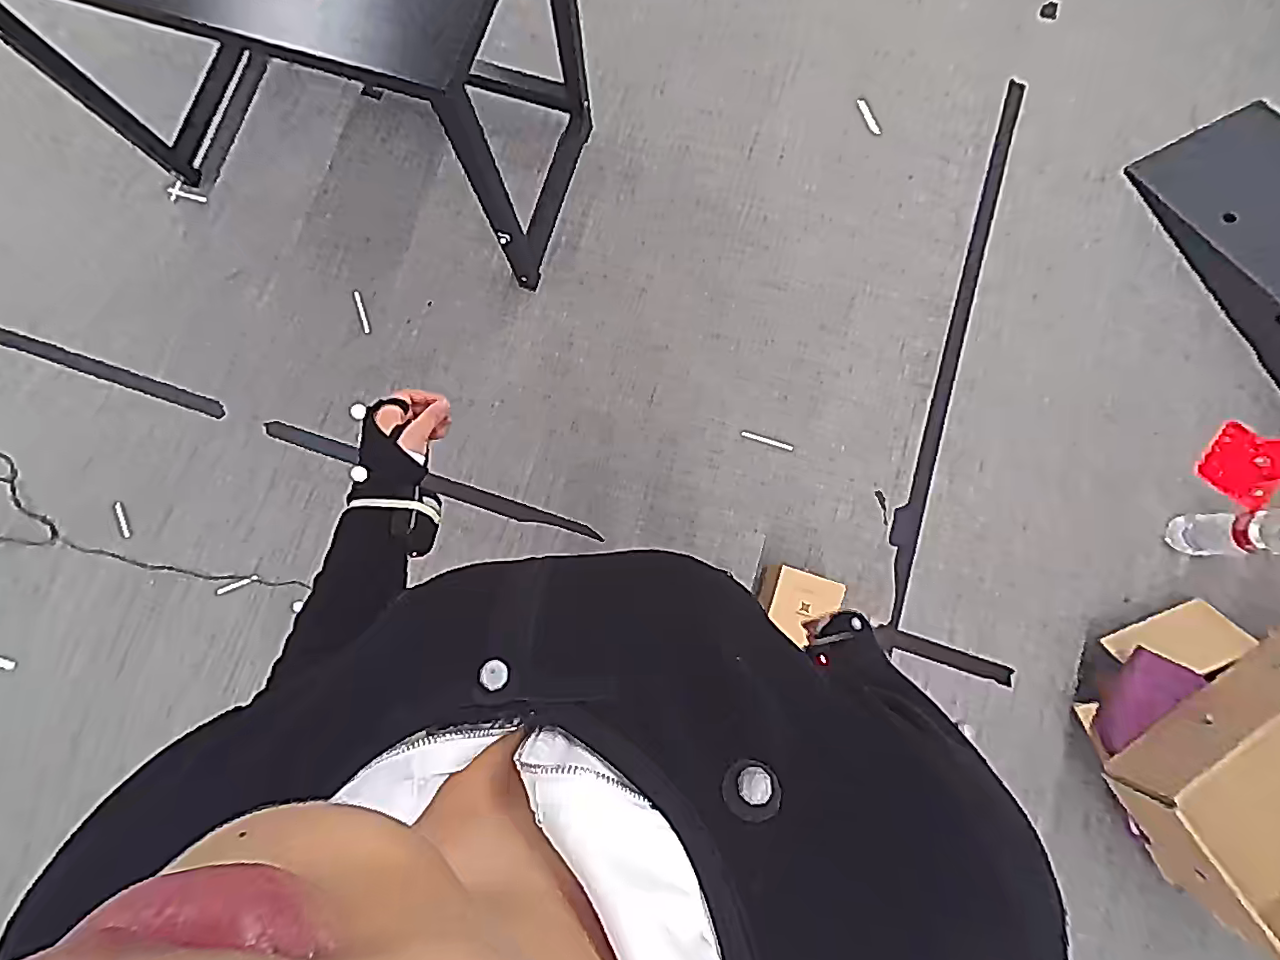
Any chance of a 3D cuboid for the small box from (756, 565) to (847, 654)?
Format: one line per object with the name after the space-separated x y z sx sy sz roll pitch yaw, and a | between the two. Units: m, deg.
0.408 0.328 1.399 0.168 0.176 0.179 17 82 3 | small box
